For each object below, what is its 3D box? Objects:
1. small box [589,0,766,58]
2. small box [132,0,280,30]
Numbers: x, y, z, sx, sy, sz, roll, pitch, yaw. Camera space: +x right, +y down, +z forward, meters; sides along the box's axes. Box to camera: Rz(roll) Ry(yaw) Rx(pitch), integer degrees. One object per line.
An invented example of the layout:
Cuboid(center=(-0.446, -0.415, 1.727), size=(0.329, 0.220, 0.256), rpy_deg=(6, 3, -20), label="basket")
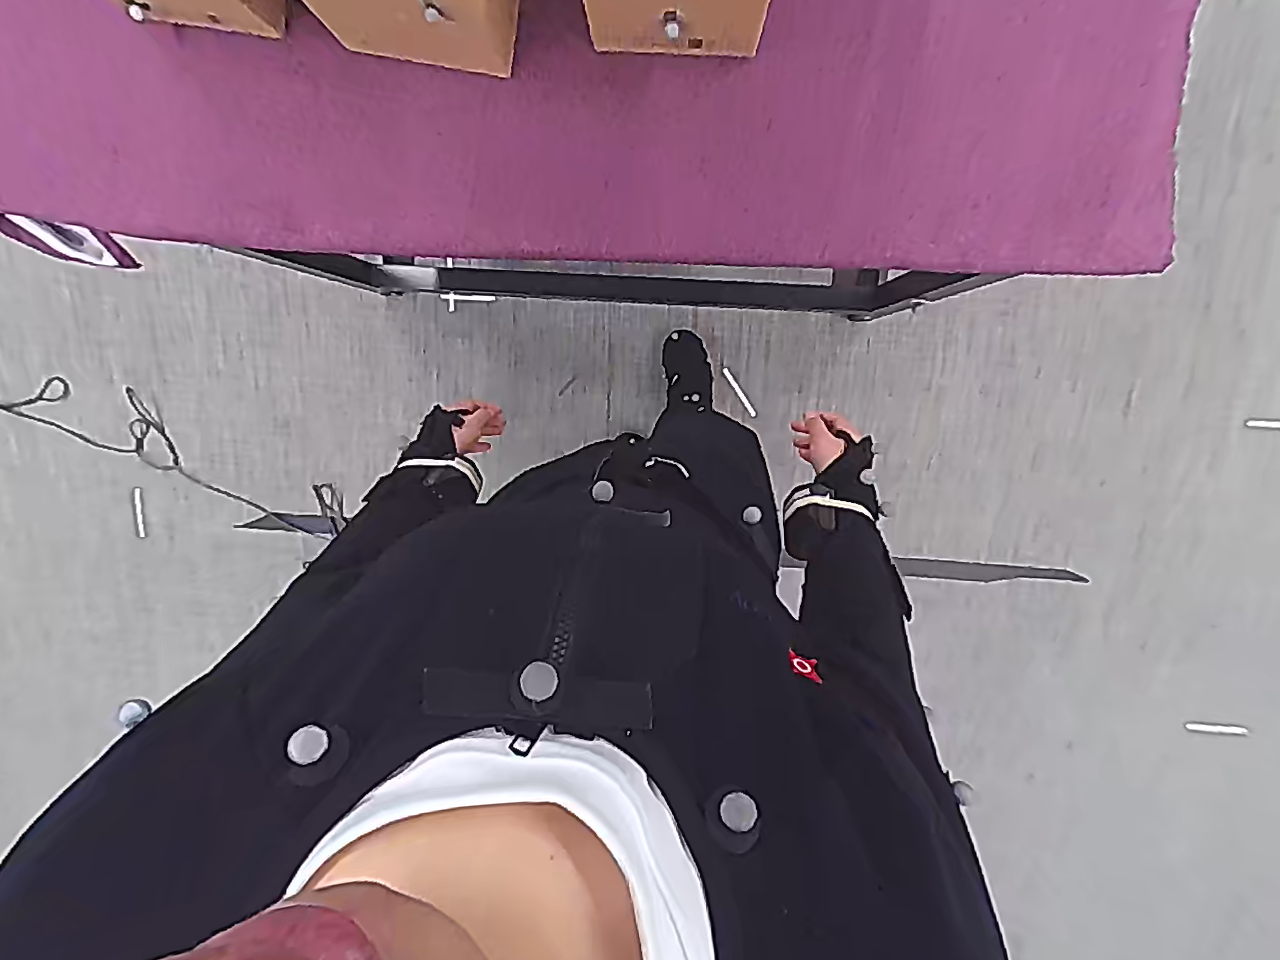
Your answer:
Cuboid(center=(0.035, -0.507, 0.456), size=(0.168, 0.176, 0.179), rpy_deg=(5, 100, 2), label="small box")
Cuboid(center=(-0.441, -0.543, 0.470), size=(0.168, 0.176, 0.179), rpy_deg=(9, 101, 0), label="small box")
